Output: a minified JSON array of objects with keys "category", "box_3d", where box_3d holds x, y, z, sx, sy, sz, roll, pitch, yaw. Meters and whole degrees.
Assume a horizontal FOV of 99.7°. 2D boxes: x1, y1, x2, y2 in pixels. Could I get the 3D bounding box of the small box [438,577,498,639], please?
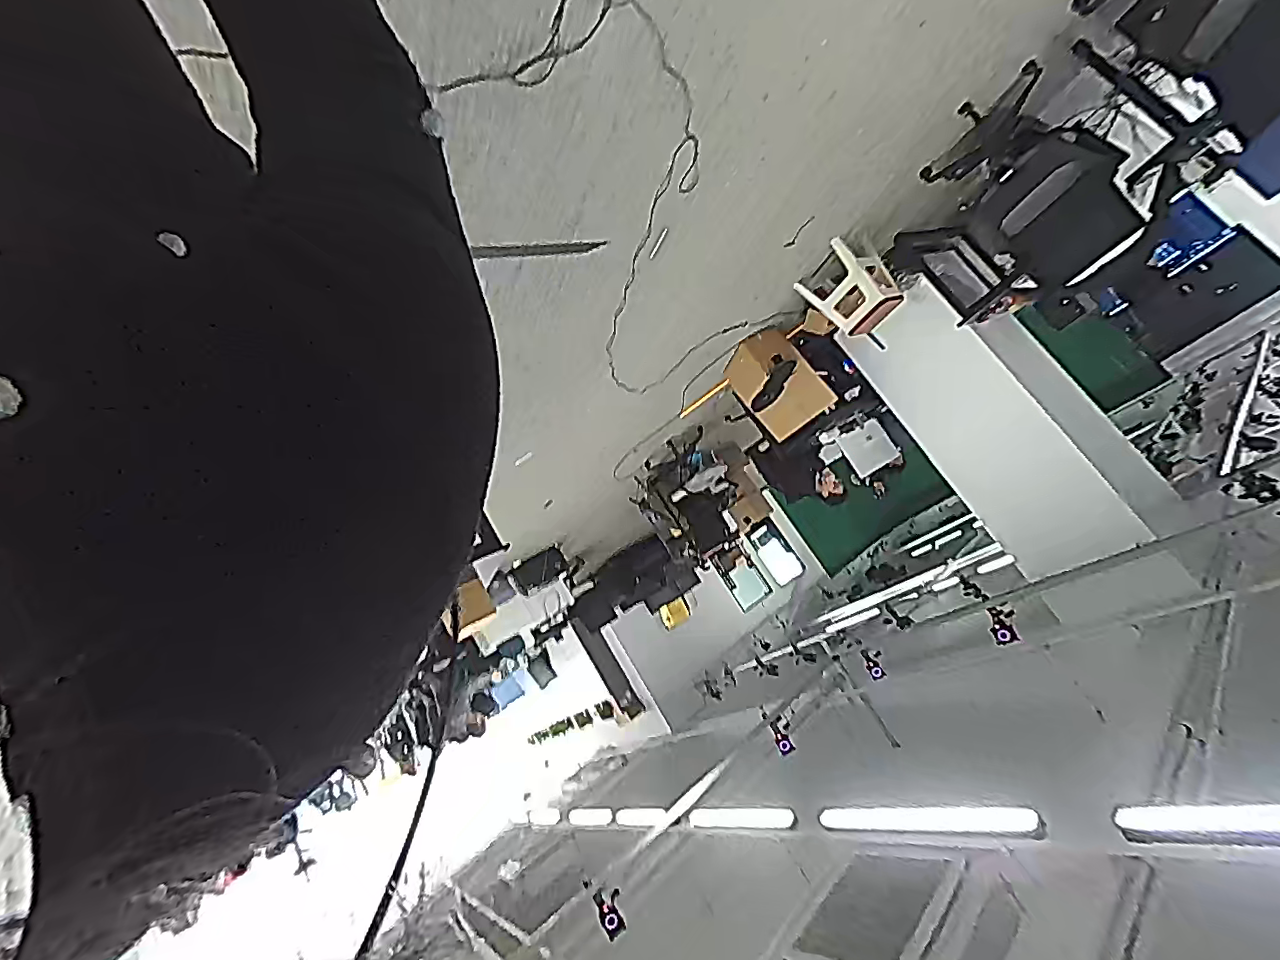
[{"category":"small box","box_3d":[-0.704,0.516,2.200,0.168,0.176,0.179,-23,164,-34]}]
